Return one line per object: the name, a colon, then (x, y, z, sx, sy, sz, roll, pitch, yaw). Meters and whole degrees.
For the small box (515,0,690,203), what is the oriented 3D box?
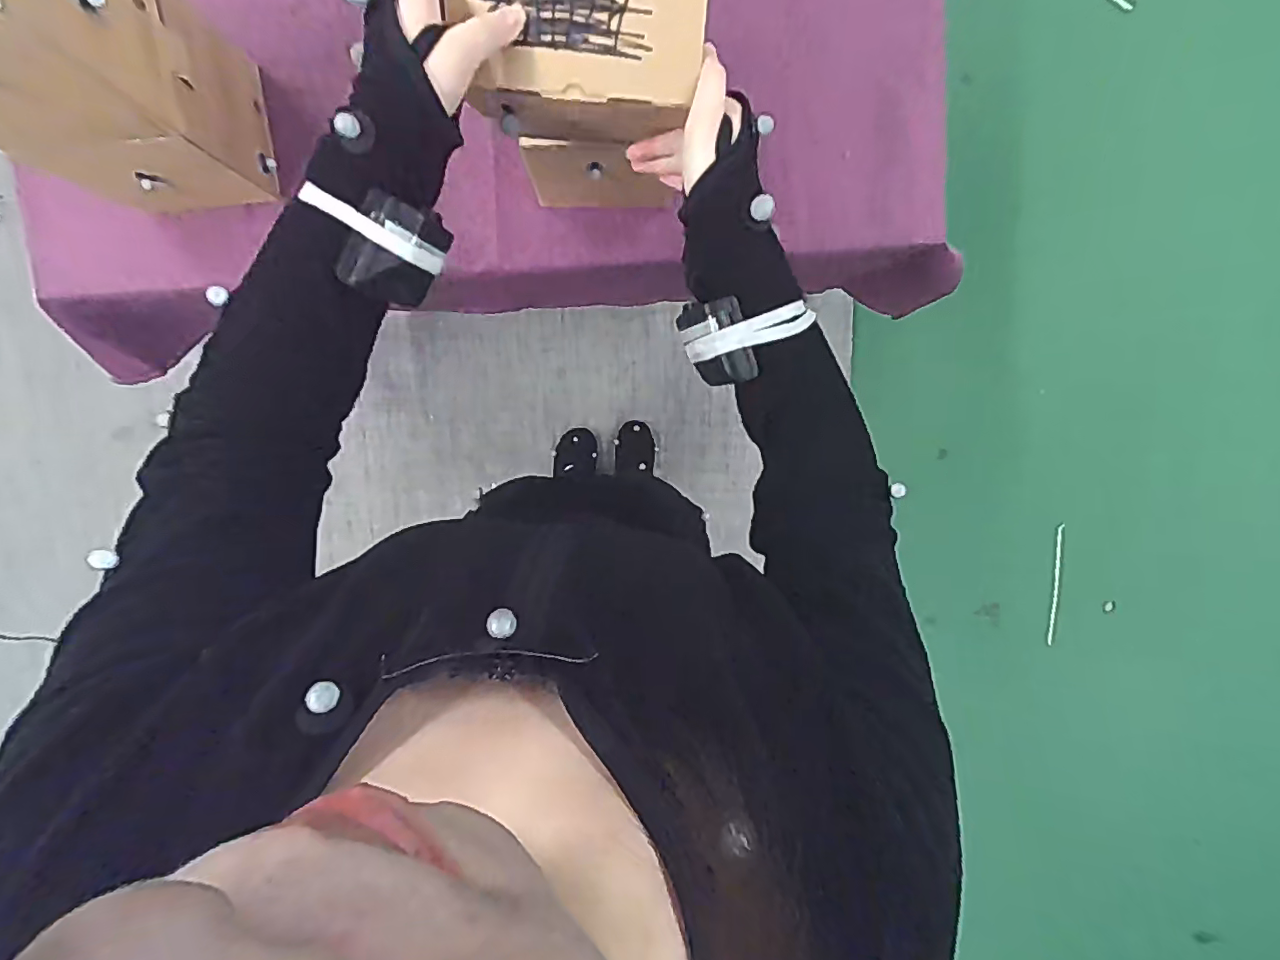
small box: (-0.040, -0.436, 0.624, 0.179, 0.176, 0.168, 0, 98, -3)

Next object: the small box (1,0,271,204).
small box: (-0.546, -0.425, 0.598, 0.179, 0.176, 0.168, -6, 98, -1)

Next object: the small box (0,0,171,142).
small box: (-0.533, -0.404, 0.437, 0.179, 0.176, 0.168, -7, 98, -1)
